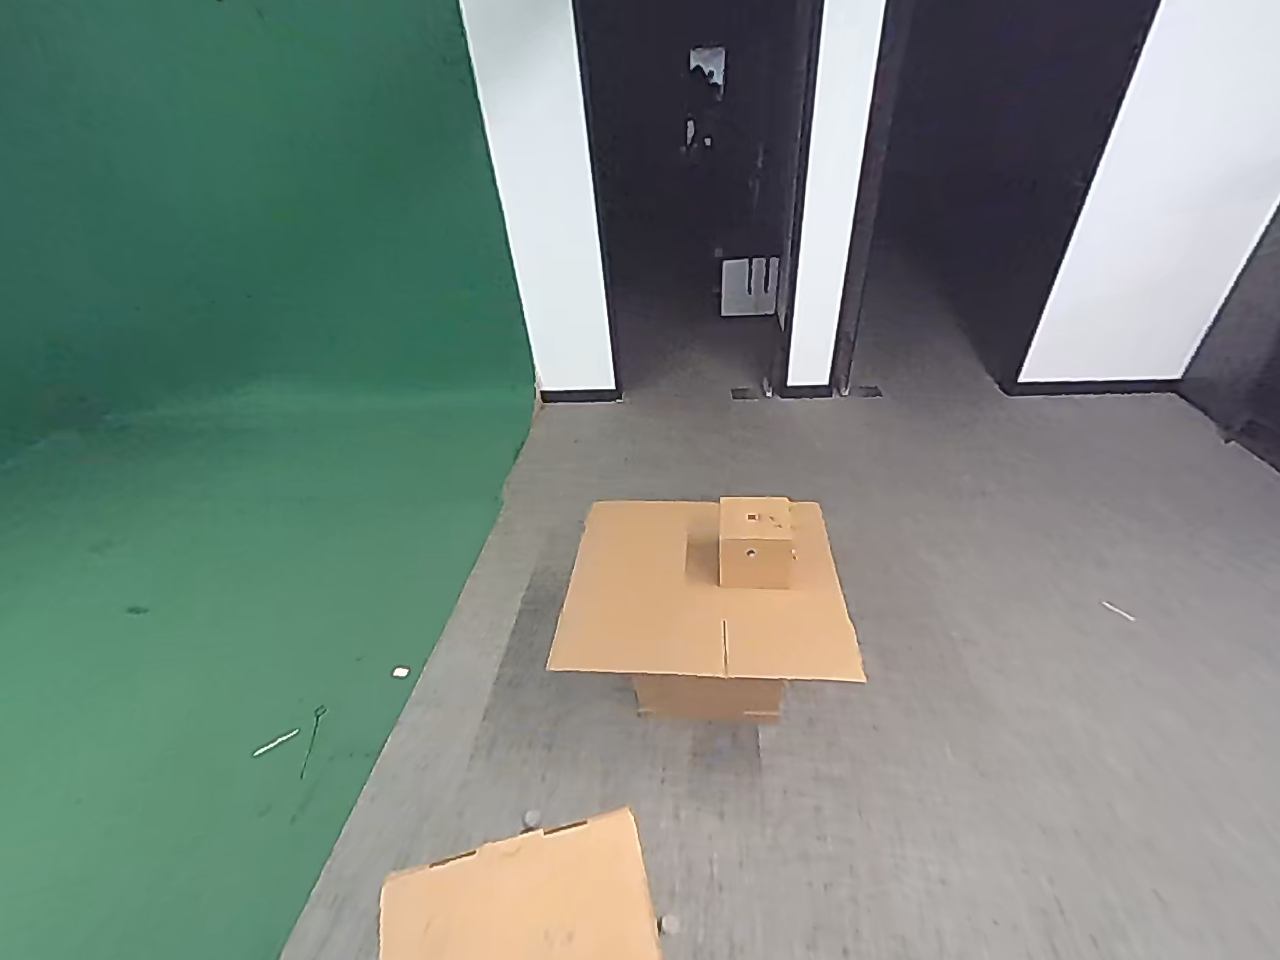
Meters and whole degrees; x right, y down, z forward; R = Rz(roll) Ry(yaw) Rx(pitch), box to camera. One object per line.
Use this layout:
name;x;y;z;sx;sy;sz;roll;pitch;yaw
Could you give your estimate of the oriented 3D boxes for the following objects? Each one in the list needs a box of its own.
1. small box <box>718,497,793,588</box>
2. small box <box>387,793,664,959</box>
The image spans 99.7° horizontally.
small box;0.293;0.160;1.380;0.179;0.176;0.168;0;37;10
small box;-0.067;0.345;0.387;0.168;0.176;0.179;-12;59;-6
